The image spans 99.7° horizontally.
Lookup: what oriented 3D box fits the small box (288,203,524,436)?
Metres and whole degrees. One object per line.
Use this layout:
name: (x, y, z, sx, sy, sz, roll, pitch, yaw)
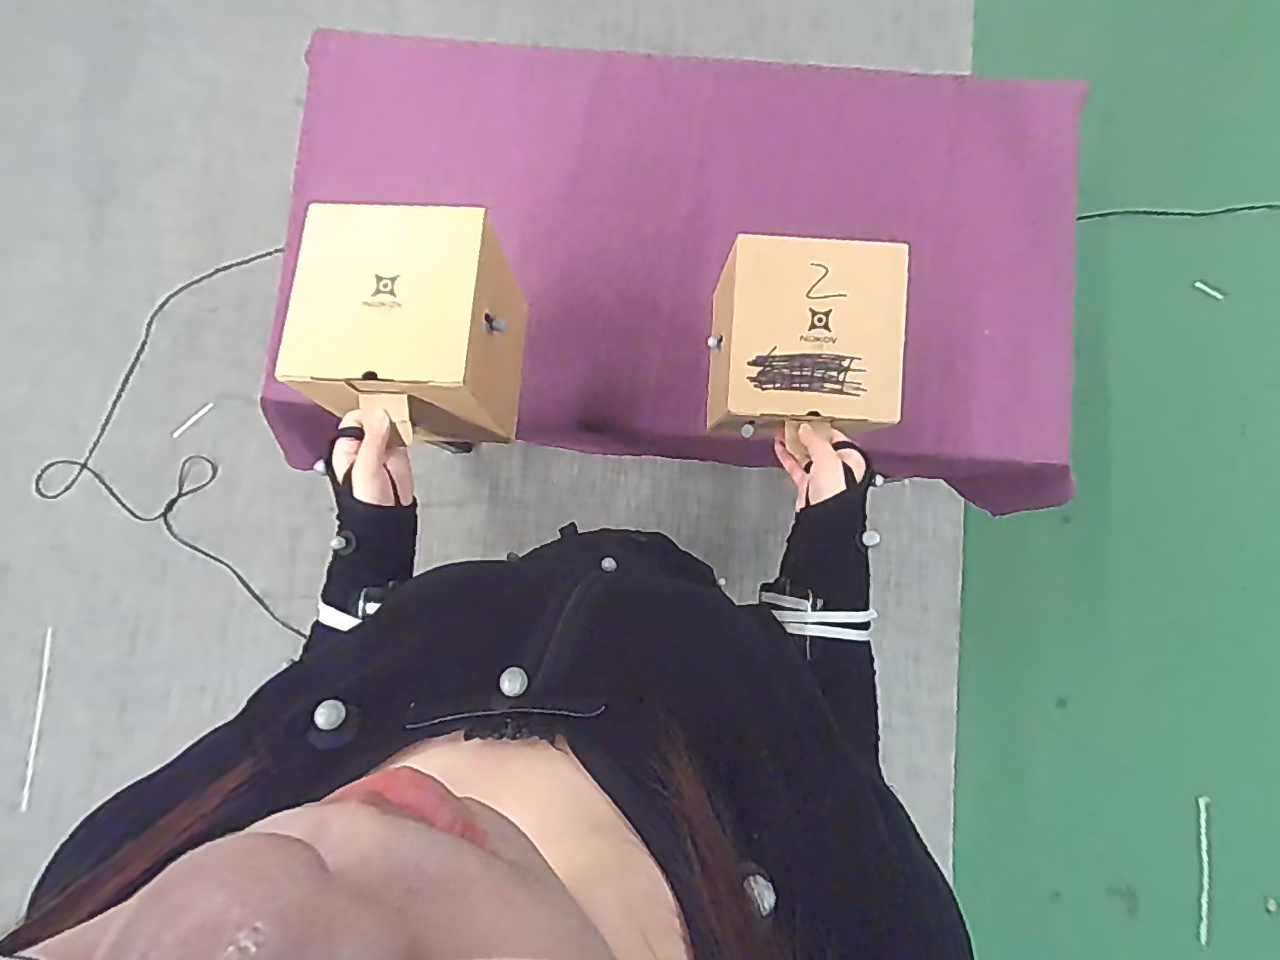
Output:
small box: (-0.225, -0.157, 0.572, 0.168, 0.176, 0.179, 3, 79, 2)
